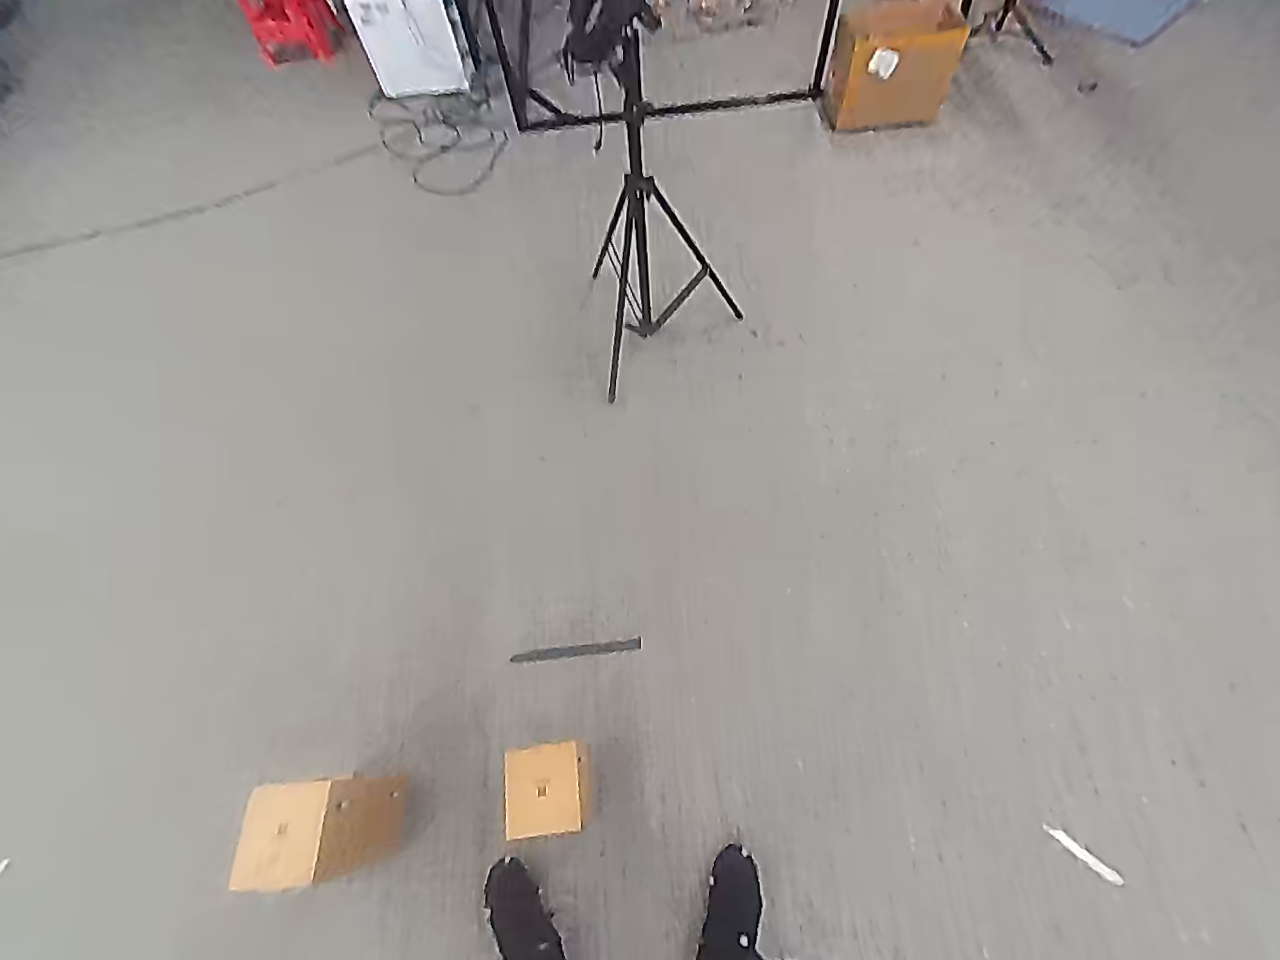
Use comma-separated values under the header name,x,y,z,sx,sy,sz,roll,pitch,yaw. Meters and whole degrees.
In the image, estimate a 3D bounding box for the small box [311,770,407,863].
name,x,y,z,sx,sy,sz,roll,pitch,yaw
small box,-0.666,0.778,1.260,0.168,0.176,0.179,-4,62,4

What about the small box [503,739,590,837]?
name,x,y,z,sx,sy,sz,roll,pitch,yaw
small box,-0.214,0.711,1.261,0.168,0.176,0.179,-8,61,0

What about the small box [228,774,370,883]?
name,x,y,z,sx,sy,sz,roll,pitch,yaw
small box,-0.685,0.707,1.113,0.168,0.176,0.179,-4,63,3
